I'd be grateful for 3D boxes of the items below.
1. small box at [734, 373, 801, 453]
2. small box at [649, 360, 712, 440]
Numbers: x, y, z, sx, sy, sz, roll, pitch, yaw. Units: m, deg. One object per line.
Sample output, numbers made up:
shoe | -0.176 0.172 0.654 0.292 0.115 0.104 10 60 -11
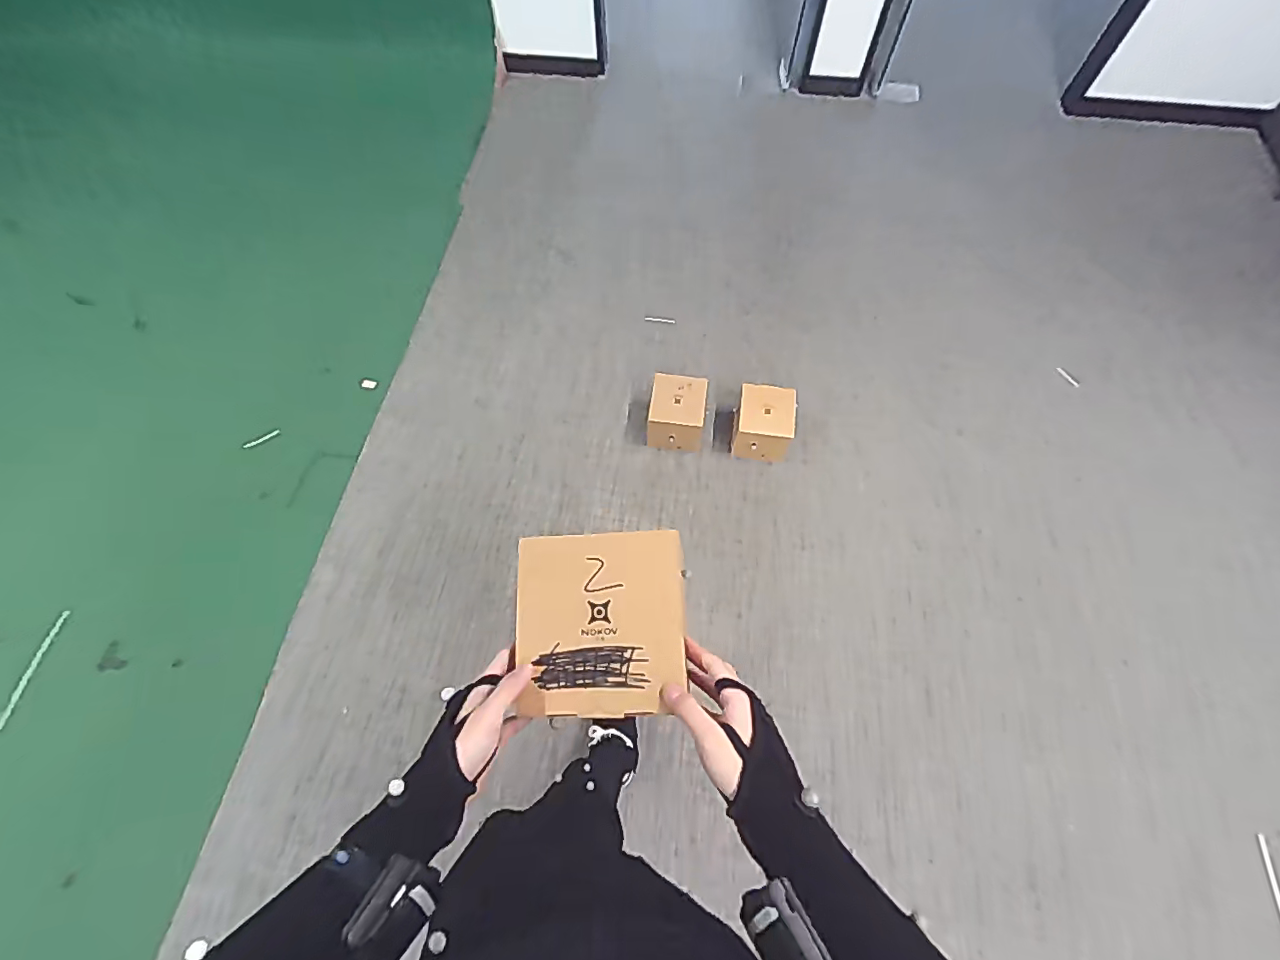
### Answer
small box | 0.387 -0.201 1.660 0.168 0.176 0.179 9 66 4
small box | 0.123 -0.243 1.675 0.168 0.176 0.179 10 67 4
